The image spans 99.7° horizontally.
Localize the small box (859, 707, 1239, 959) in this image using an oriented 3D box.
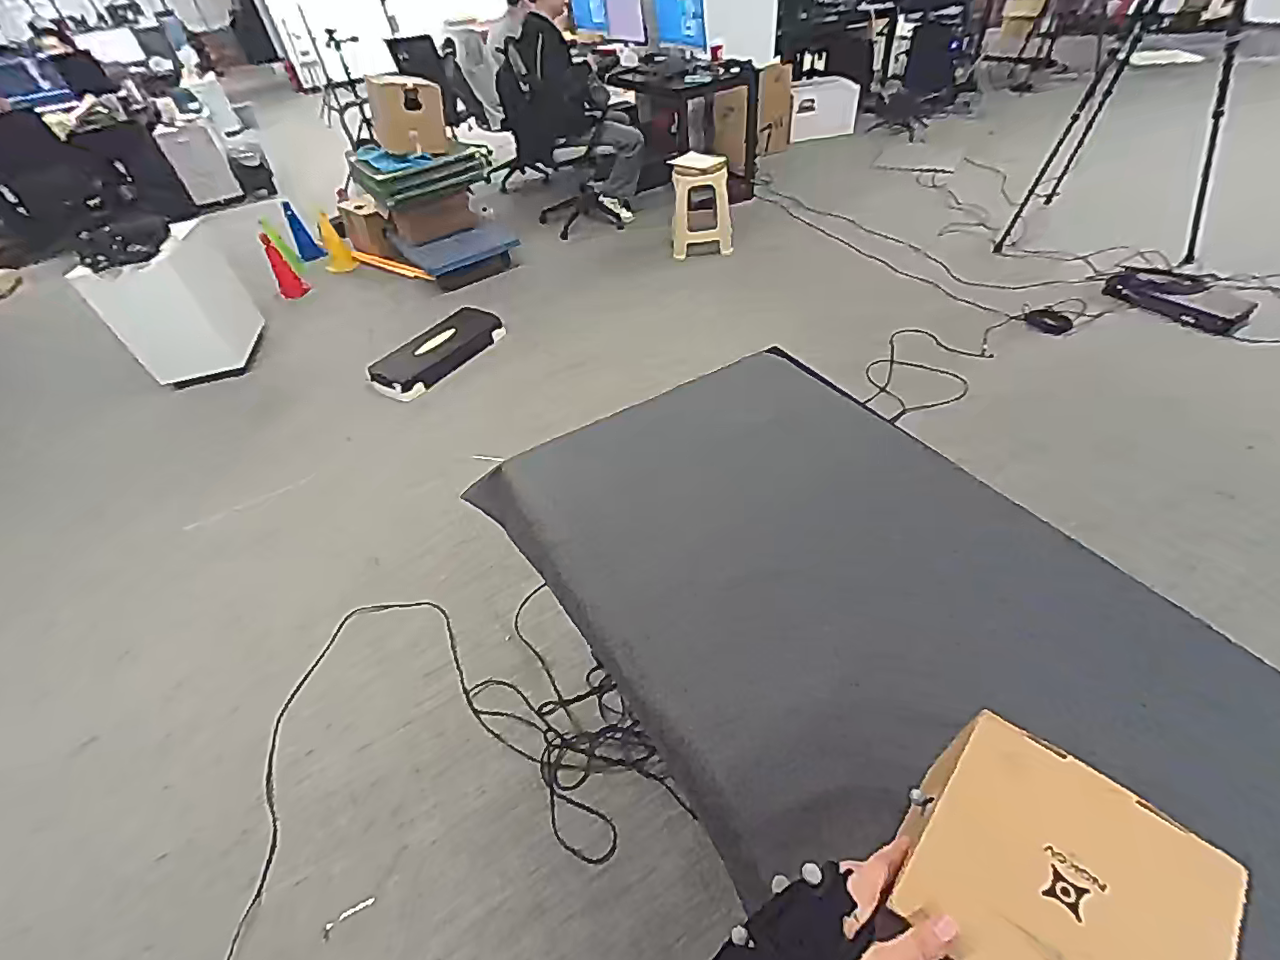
[{"bbox_3d":[0.292,0.323,0.419,0.168,0.176,0.179,29,58,31],"label":"small box"}]
